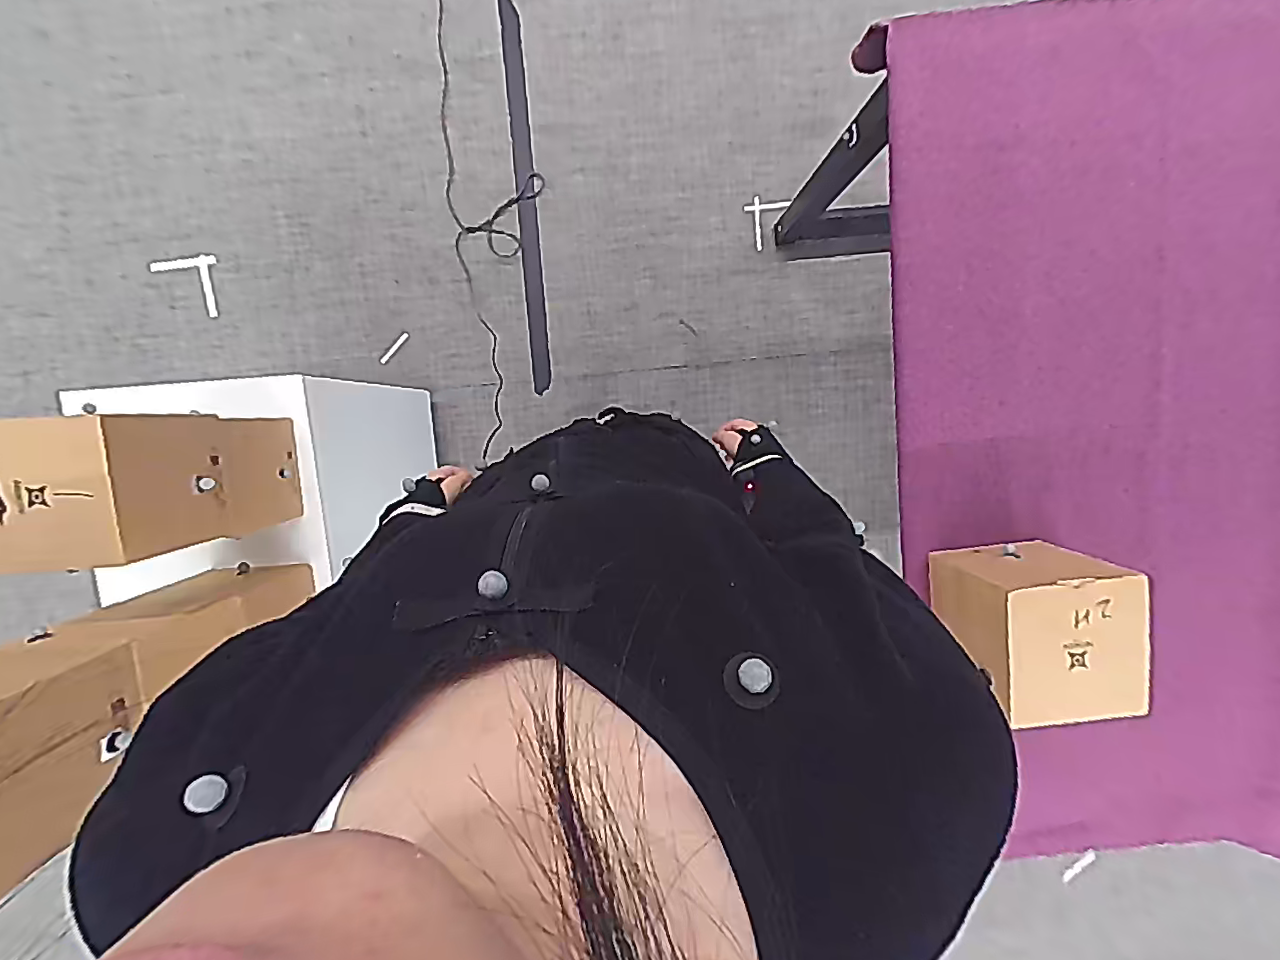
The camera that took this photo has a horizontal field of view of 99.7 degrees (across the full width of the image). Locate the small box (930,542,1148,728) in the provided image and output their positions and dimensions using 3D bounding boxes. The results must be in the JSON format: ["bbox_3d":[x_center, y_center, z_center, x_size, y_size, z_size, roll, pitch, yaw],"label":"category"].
[{"bbox_3d":[0.505,0.191,0.707,0.168,0.176,0.179,-6,97,-1],"label":"small box"}]

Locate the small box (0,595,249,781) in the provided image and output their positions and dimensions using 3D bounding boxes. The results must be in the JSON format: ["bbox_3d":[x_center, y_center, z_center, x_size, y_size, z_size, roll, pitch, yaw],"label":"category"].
[{"bbox_3d":[-0.629,0.251,0.675,0.179,0.176,0.168,-5,97,1],"label":"small box"}]

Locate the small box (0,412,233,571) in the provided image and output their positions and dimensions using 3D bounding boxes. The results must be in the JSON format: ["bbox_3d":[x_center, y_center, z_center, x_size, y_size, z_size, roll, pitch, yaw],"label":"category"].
[{"bbox_3d":[-0.638,0.005,0.644,0.179,0.176,0.168,-3,97,-2],"label":"small box"}]

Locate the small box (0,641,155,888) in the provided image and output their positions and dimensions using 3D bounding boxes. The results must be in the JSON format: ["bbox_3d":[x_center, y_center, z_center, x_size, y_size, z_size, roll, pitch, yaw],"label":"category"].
[{"bbox_3d":[-0.629,0.269,0.514,0.179,0.176,0.168,-6,98,0],"label":"small box"}]

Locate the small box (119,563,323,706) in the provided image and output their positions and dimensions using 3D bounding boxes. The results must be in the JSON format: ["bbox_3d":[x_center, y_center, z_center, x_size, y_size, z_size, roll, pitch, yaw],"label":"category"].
[{"bbox_3d":[-0.632,0.233,0.836,0.179,0.176,0.168,-4,98,1],"label":"small box"}]
